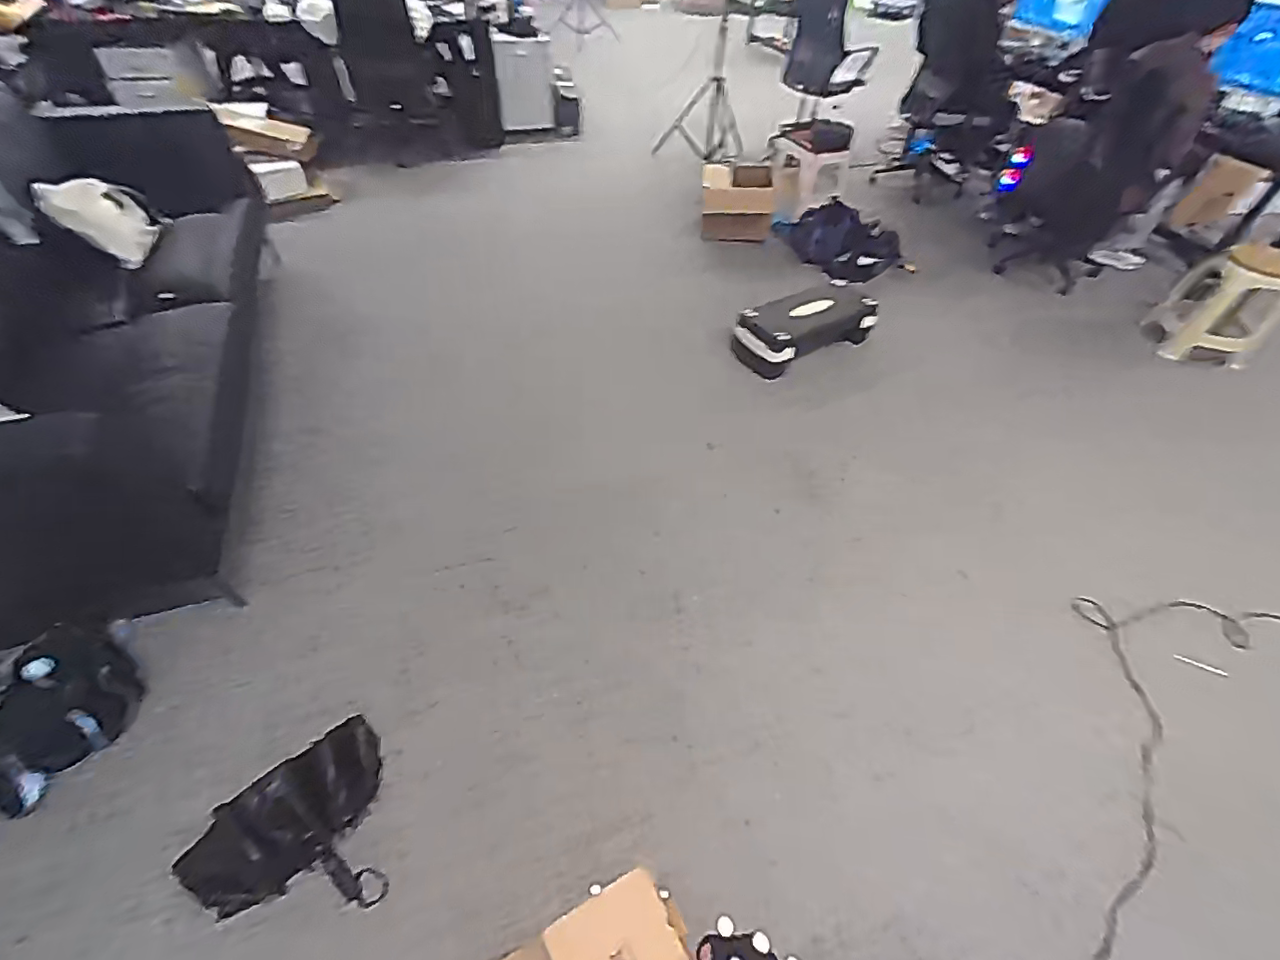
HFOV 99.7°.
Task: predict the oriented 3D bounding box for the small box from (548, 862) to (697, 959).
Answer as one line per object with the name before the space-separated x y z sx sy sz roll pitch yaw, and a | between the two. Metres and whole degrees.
small box | -0.023 0.728 0.825 0.179 0.176 0.168 -23 51 -19
